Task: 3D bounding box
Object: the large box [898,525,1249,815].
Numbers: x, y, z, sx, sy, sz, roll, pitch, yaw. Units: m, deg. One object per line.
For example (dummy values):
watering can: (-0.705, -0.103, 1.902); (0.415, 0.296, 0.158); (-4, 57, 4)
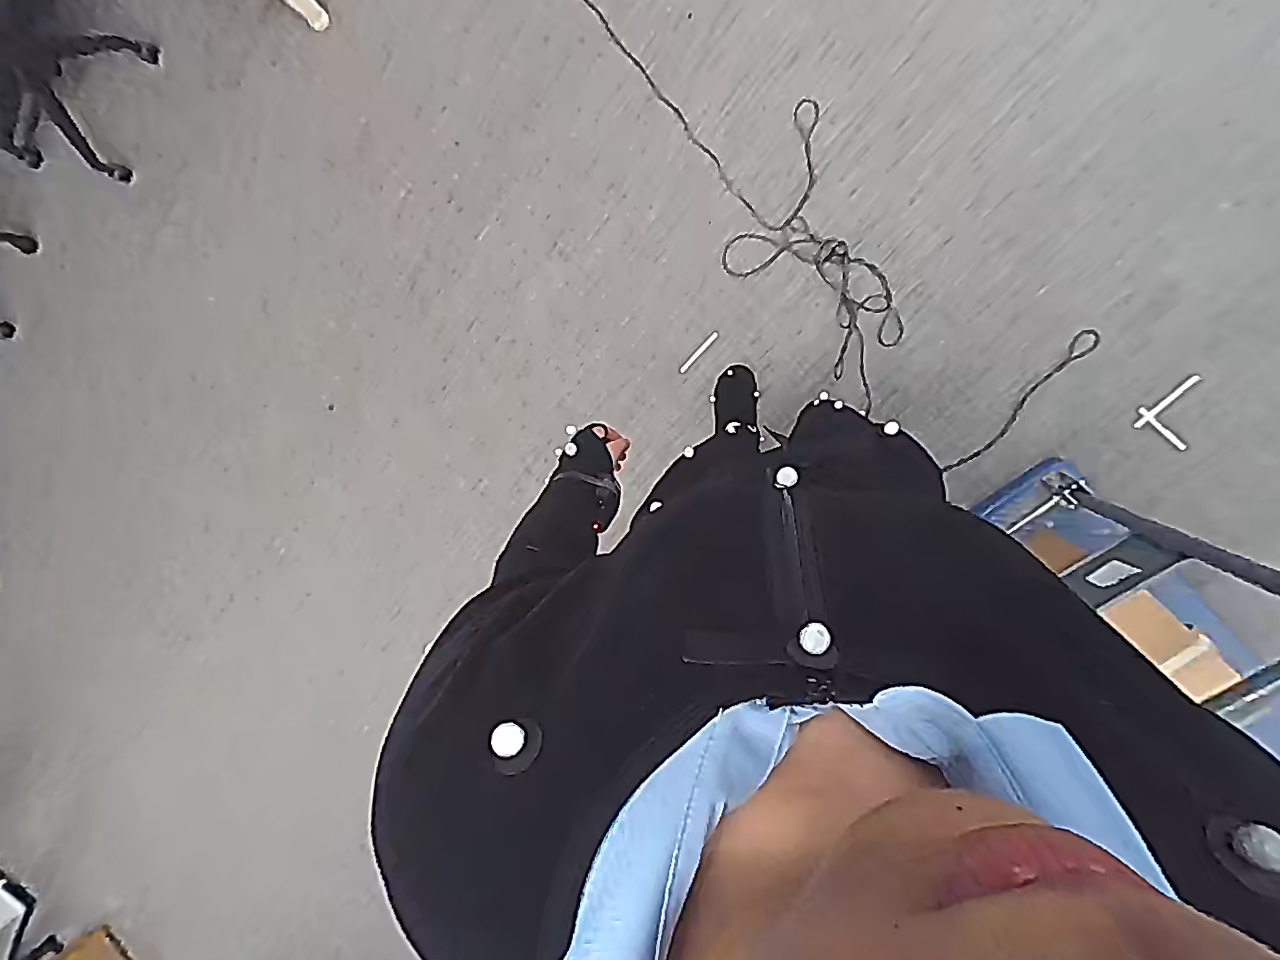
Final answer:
large box: (0.824, 0.364, 1.110); (0.320, 0.320, 0.408); (43, 108, 2)
